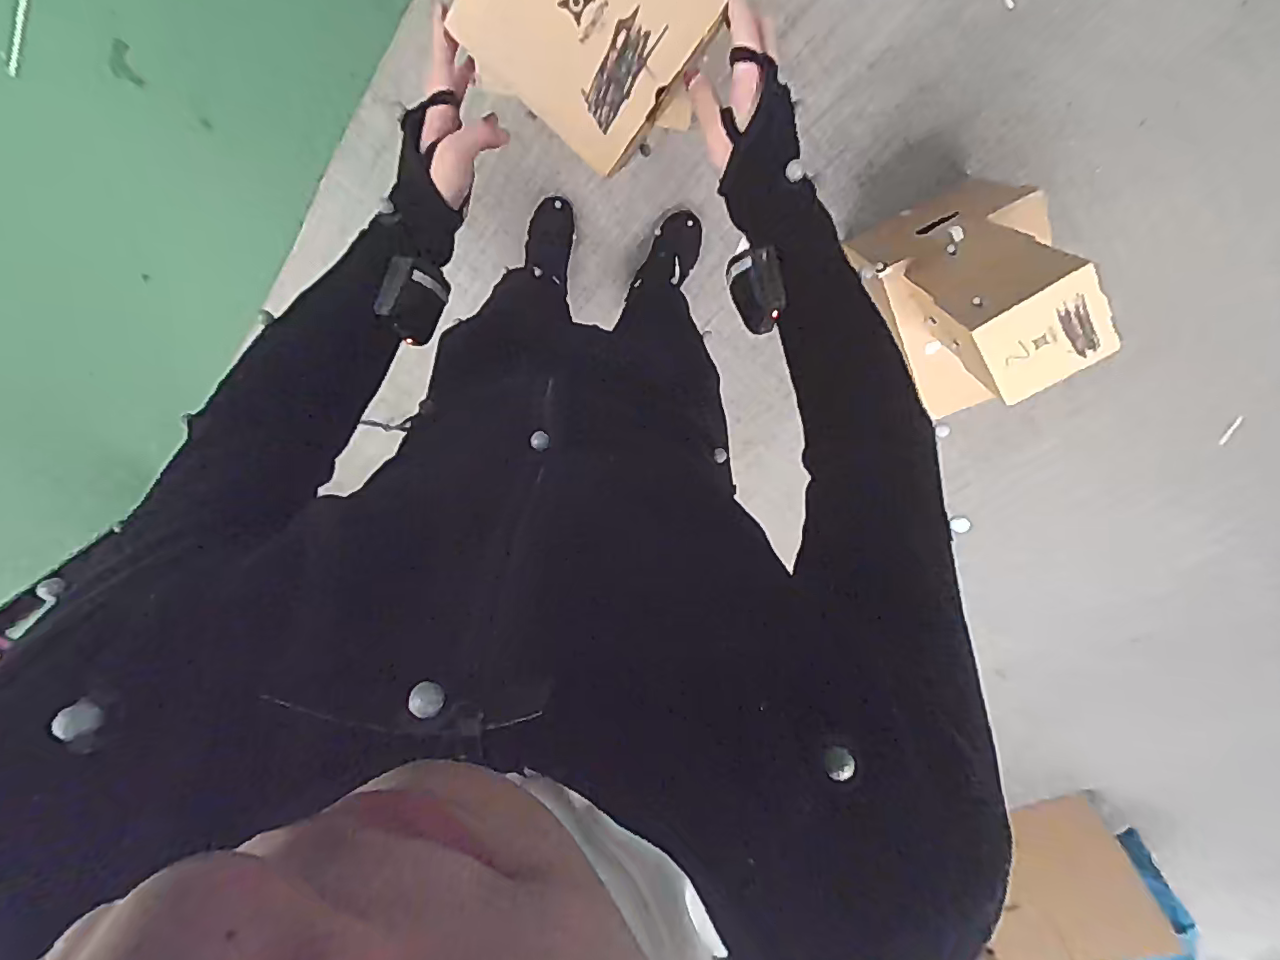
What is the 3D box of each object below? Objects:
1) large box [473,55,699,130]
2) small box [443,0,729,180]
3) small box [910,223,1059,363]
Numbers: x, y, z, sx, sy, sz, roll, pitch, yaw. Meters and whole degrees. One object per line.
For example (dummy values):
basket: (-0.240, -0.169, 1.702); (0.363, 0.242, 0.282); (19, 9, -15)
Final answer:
large box: (-0.077, -0.887, 1.045); (0.408, 0.320, 0.320); (10, 121, -2)
small box: (-0.038, -0.416, 0.497); (0.179, 0.176, 0.168); (38, 119, -18)
small box: (0.648, -0.362, 1.043); (0.179, 0.176, 0.168); (-31, 116, 23)
